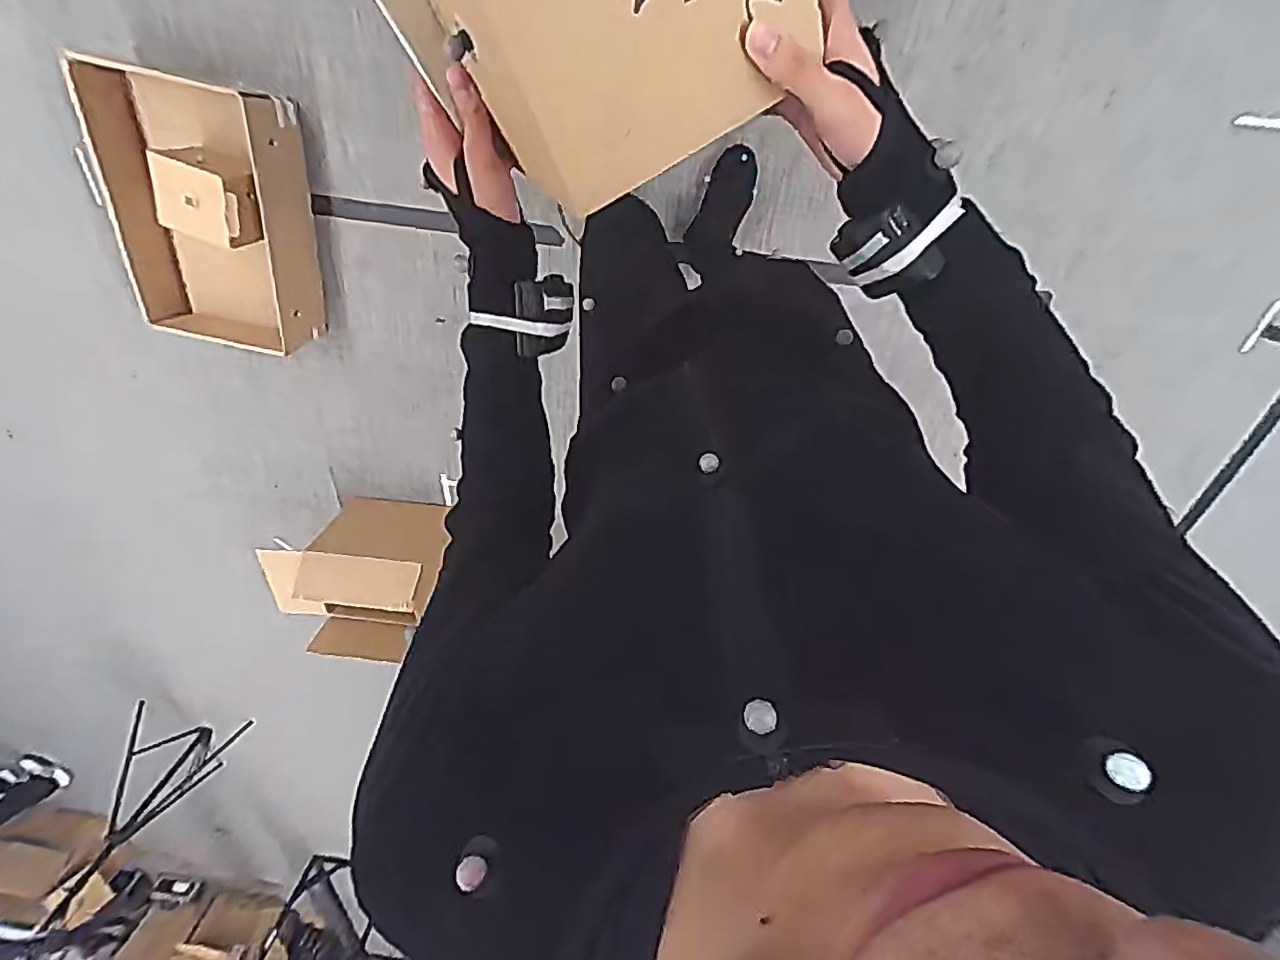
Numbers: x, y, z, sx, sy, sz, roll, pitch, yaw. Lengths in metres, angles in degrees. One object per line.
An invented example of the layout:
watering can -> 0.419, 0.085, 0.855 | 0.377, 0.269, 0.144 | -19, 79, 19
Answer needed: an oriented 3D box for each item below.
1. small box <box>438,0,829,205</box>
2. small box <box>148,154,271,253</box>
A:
small box -> -0.022, -0.294, 0.309 | 0.179, 0.176, 0.168 | -31, 136, -3
small box -> -1.046, -0.689, 1.336 | 0.179, 0.176, 0.168 | 19, 123, -6
